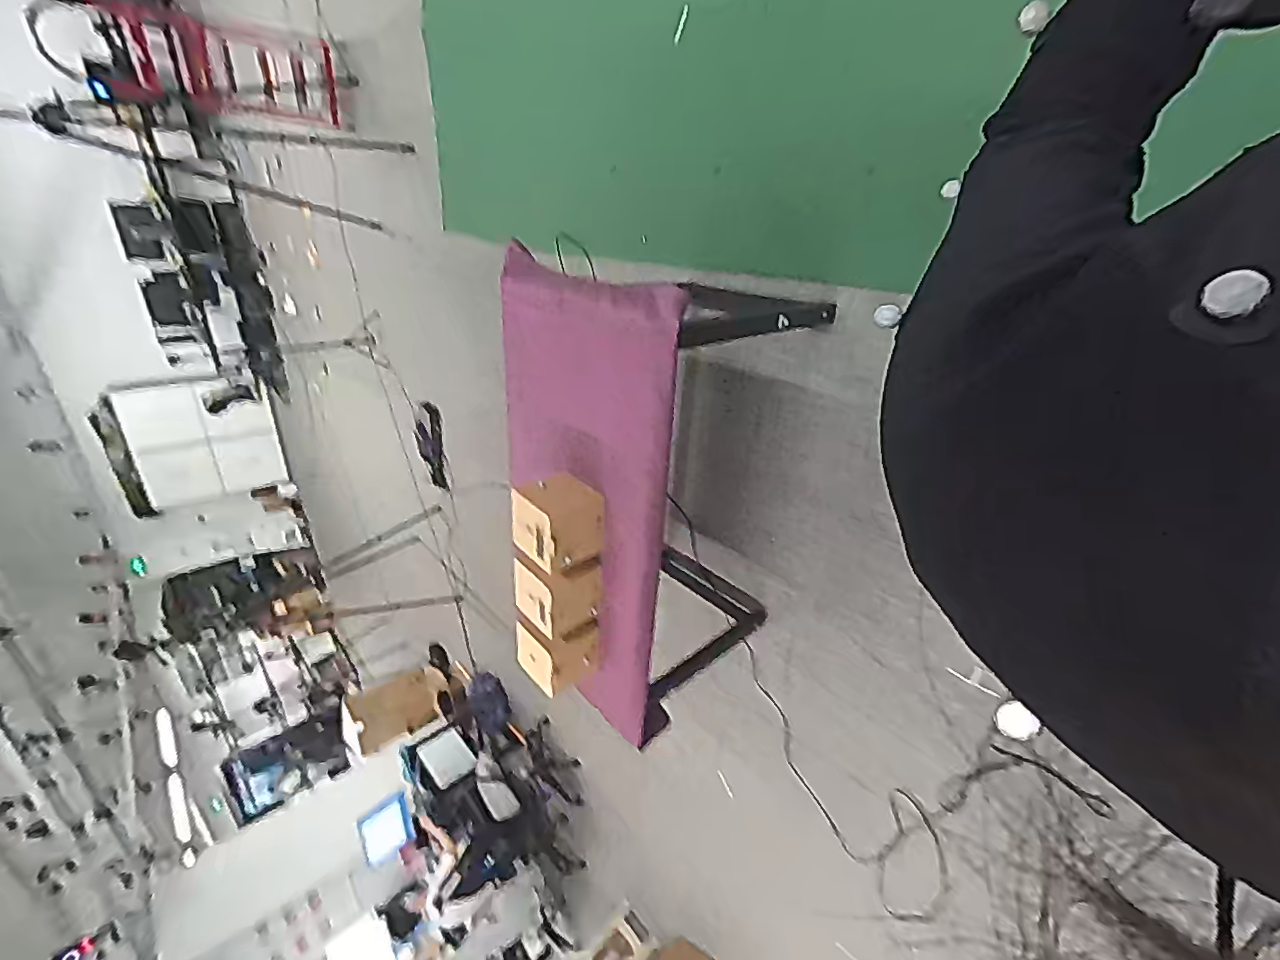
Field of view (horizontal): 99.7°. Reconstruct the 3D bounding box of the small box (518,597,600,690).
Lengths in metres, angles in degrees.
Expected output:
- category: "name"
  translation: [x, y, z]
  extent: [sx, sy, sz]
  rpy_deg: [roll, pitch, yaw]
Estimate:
- category: "small box"
  translation: [-0.237, 0.466, 1.576]
  extent: [0.179, 0.176, 0.168]
  rpy_deg: [29, 126, 39]
